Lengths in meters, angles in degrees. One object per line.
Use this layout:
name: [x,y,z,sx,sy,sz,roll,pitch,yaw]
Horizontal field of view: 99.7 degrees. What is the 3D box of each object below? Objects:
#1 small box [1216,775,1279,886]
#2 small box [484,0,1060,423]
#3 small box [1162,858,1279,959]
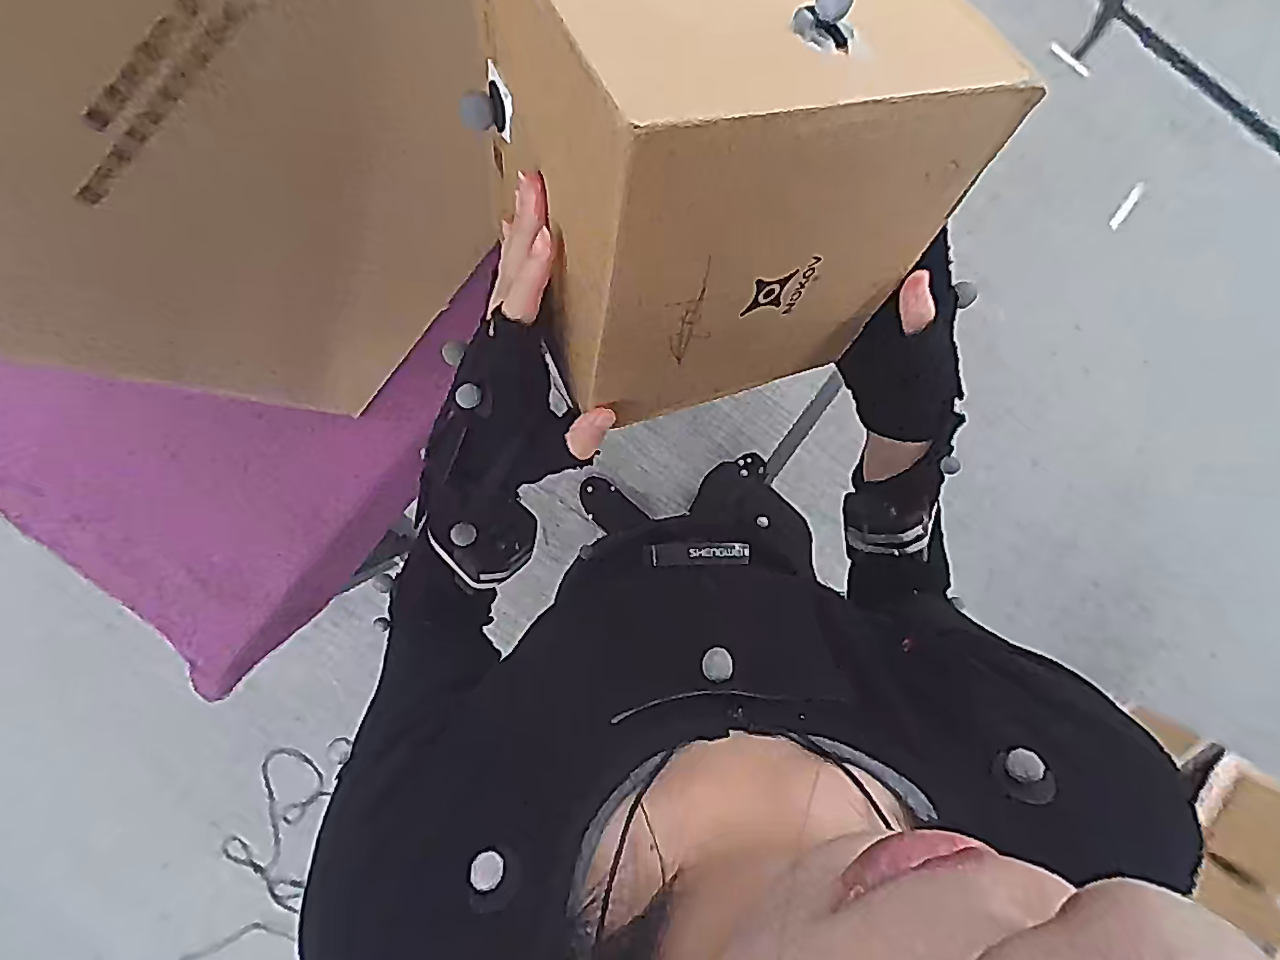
small box: [1.289,0.713,1.039,0.168,0.176,0.179,29,89,-5]
small box: [0.034,-0.159,0.270,0.179,0.168,0.176,-17,67,-17]
small box: [1.189,0.883,1.041,0.179,0.176,0.168,32,92,-5]
